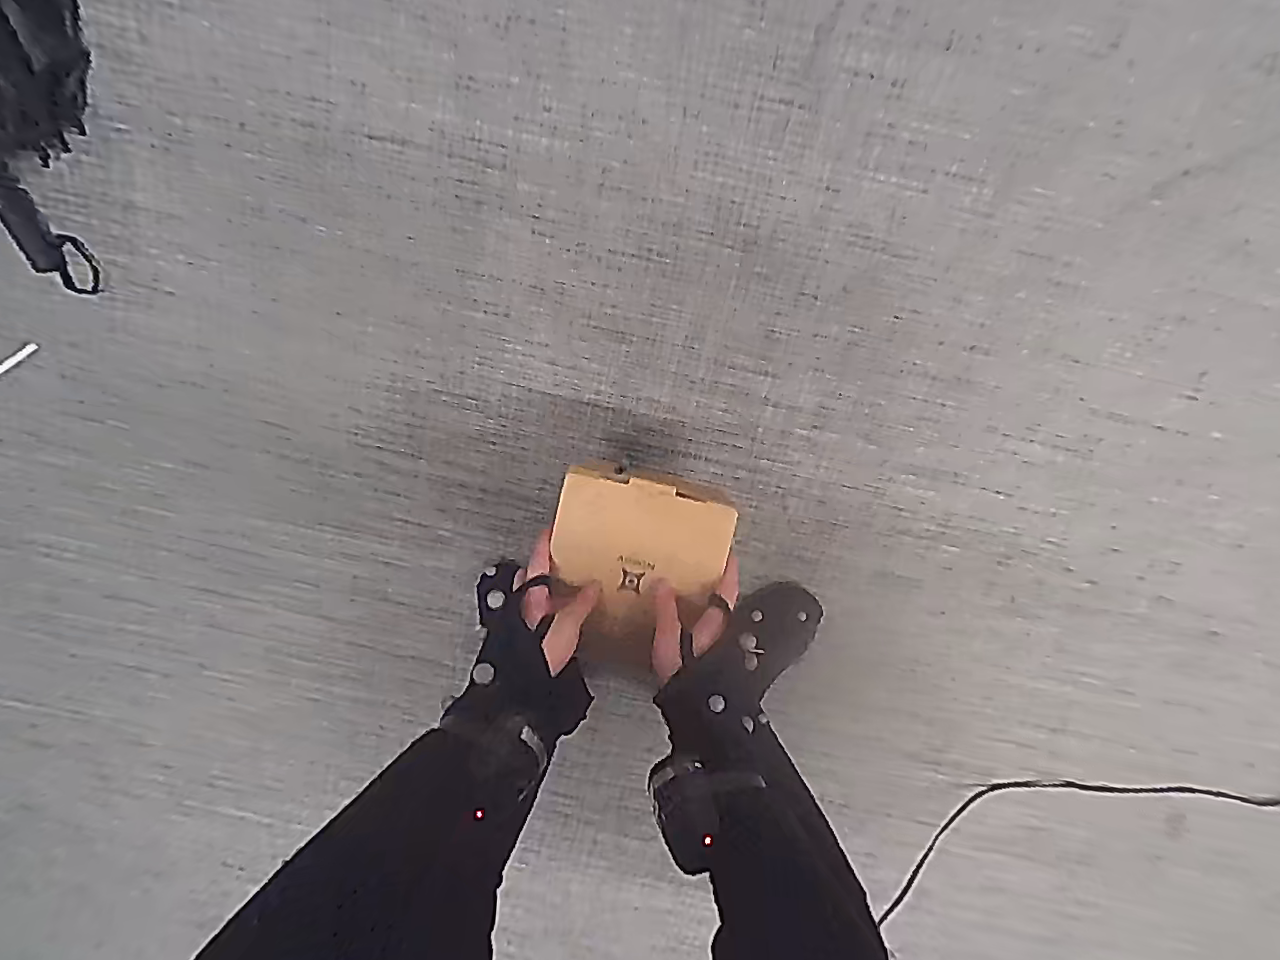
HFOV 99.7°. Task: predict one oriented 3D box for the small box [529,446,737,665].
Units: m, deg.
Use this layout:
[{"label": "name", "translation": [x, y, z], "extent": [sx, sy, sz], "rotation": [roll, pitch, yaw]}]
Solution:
[{"label": "small box", "translation": [-0.006, 0.066, 0.587], "extent": [0.168, 0.176, 0.179], "rotation": [14, 98, 1]}]
